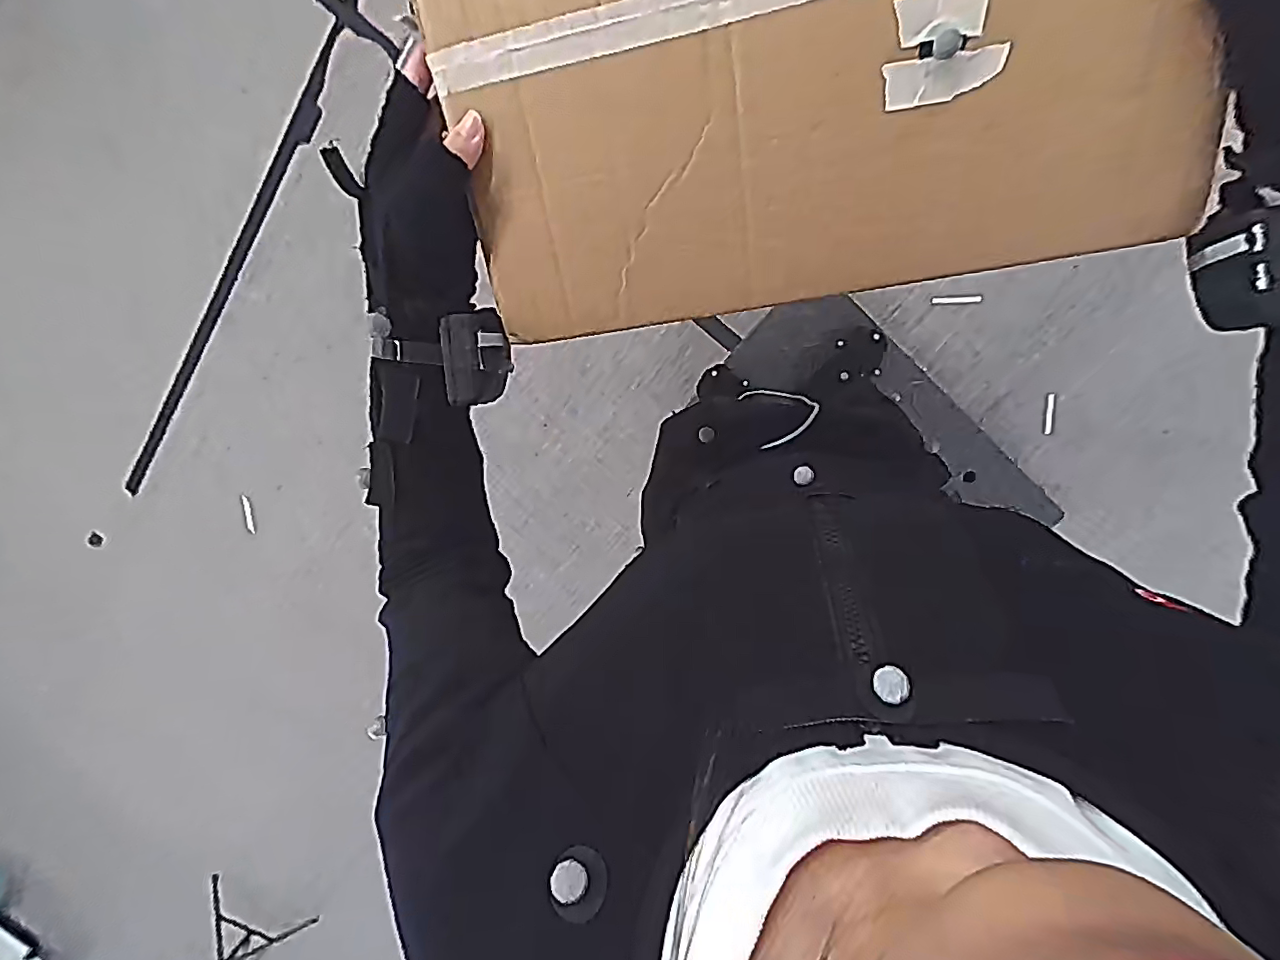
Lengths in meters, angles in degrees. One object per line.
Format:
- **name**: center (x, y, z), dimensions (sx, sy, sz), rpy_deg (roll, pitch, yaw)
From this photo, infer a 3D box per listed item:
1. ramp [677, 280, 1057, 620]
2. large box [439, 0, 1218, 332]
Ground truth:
- **ramp**: center (0.627, -0.051, 1.455), dimensions (0.991, 0.206, 0.509), rpy_deg (40, 105, -2)
- **large box**: center (0.100, -0.324, 0.419), dimensions (0.408, 0.320, 0.320), rpy_deg (-7, 114, 9)
